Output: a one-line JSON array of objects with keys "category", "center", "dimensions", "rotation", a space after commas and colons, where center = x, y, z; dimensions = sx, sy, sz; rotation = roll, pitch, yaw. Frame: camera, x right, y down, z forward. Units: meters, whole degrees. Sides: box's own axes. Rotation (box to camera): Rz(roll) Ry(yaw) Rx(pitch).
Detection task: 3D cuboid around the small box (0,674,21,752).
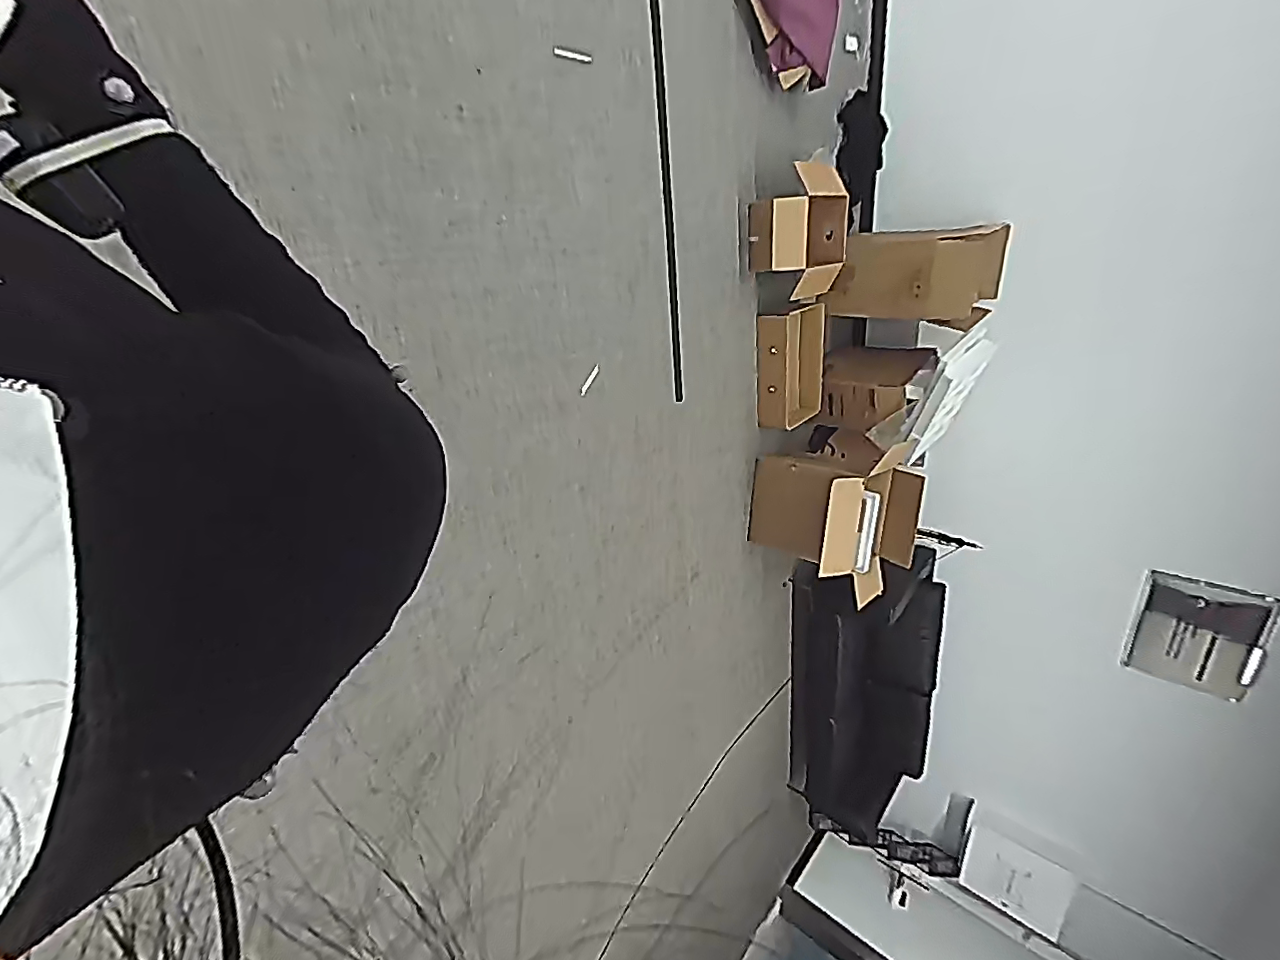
[{"category": "small box", "center": [-1.087, 0.345, 0.809], "dimensions": [0.168, 0.176, 0.179], "rotation": [-31, 123, -41]}]
